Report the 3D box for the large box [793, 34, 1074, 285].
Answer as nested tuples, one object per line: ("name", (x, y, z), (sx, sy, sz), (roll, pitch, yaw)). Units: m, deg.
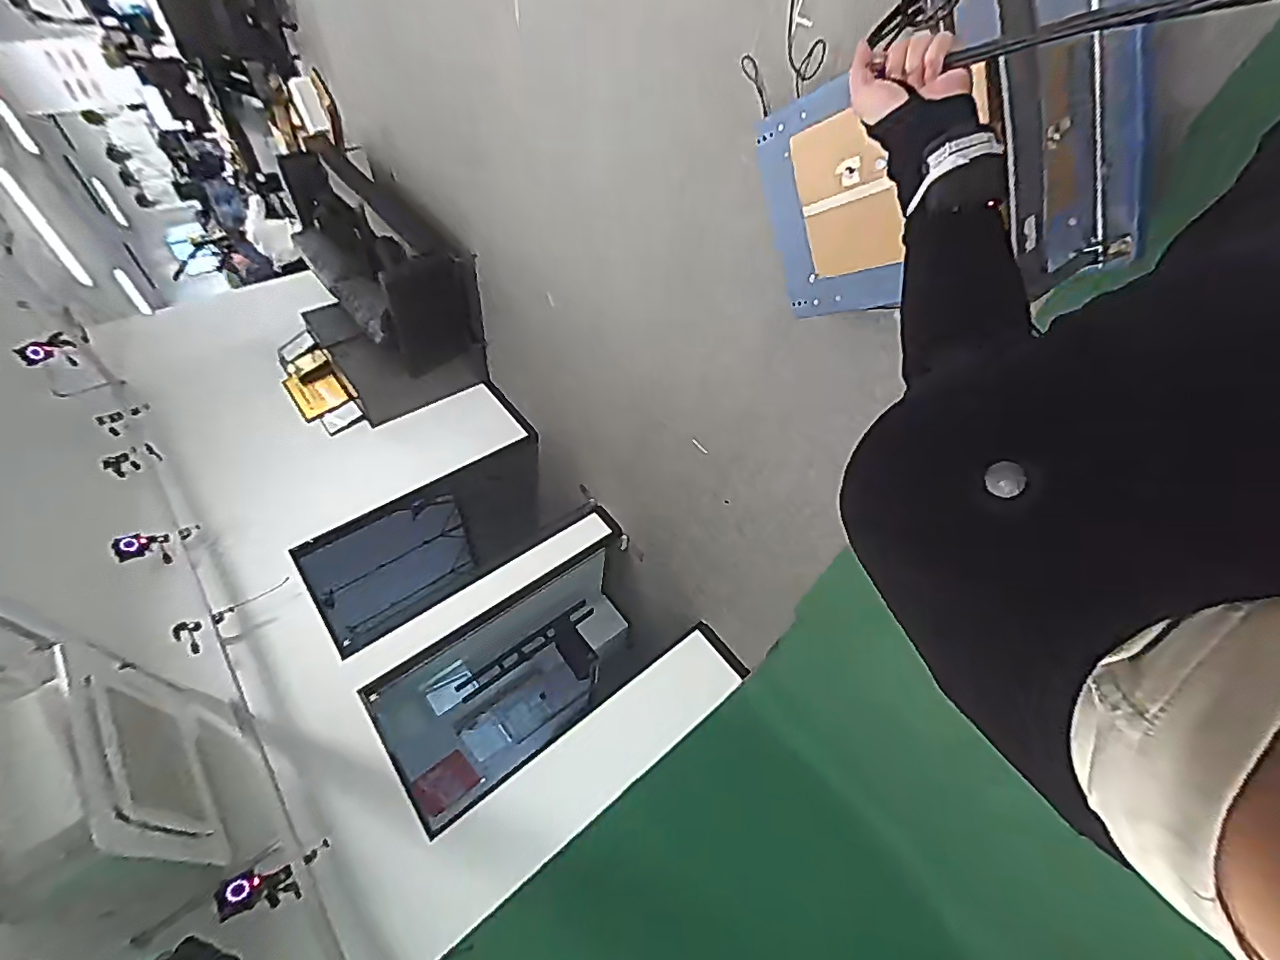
("large box", (0.607, -0.644, 1.139), (0.408, 0.320, 0.320), (14, 127, 57))
